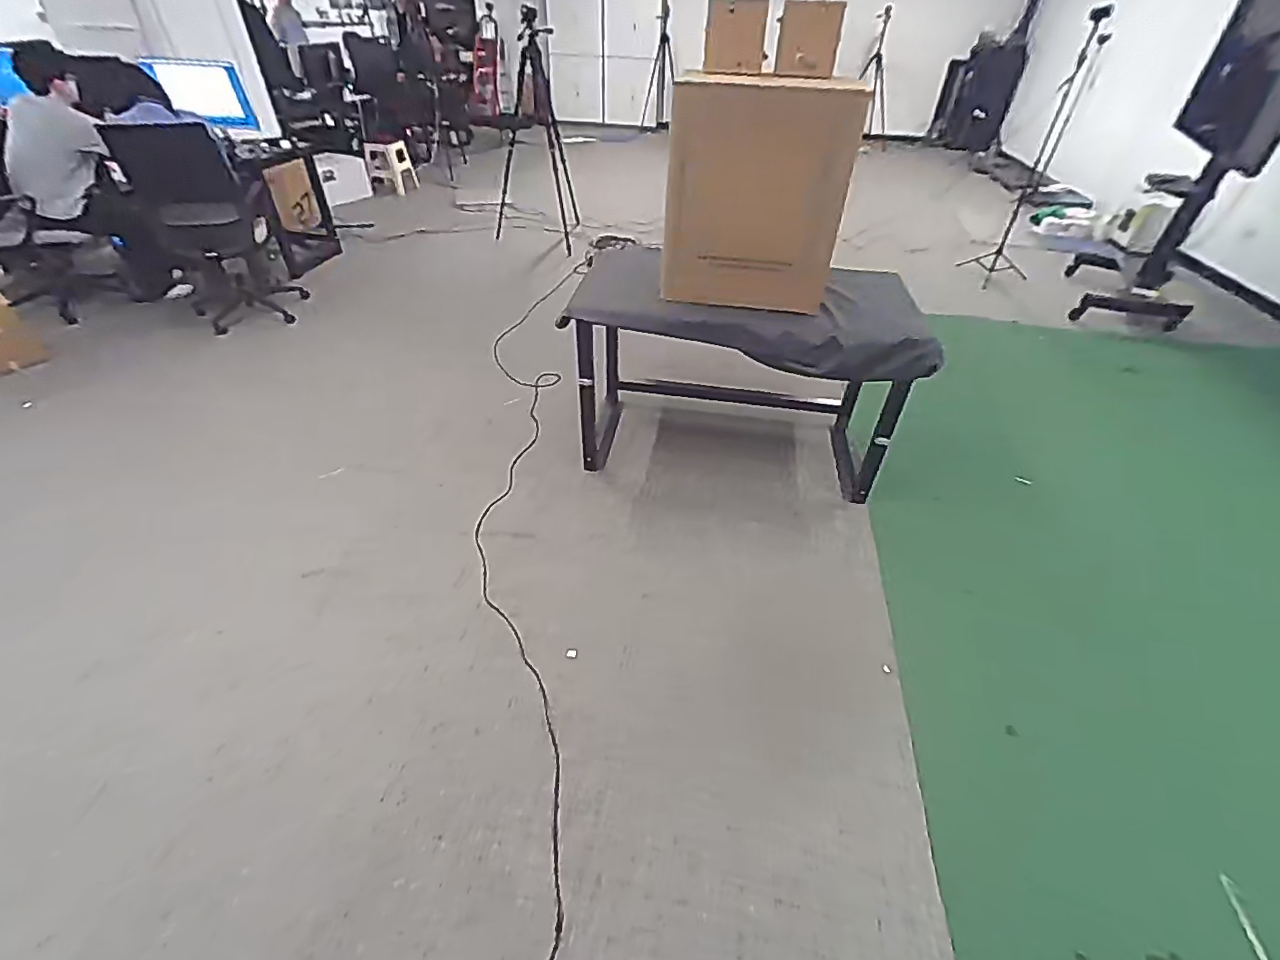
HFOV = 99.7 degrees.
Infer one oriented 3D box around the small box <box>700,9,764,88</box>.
[{"bbox_3d":[0.269,-1.261,1.583,0.168,0.176,0.179,6,38,8],"label":"small box"}]
